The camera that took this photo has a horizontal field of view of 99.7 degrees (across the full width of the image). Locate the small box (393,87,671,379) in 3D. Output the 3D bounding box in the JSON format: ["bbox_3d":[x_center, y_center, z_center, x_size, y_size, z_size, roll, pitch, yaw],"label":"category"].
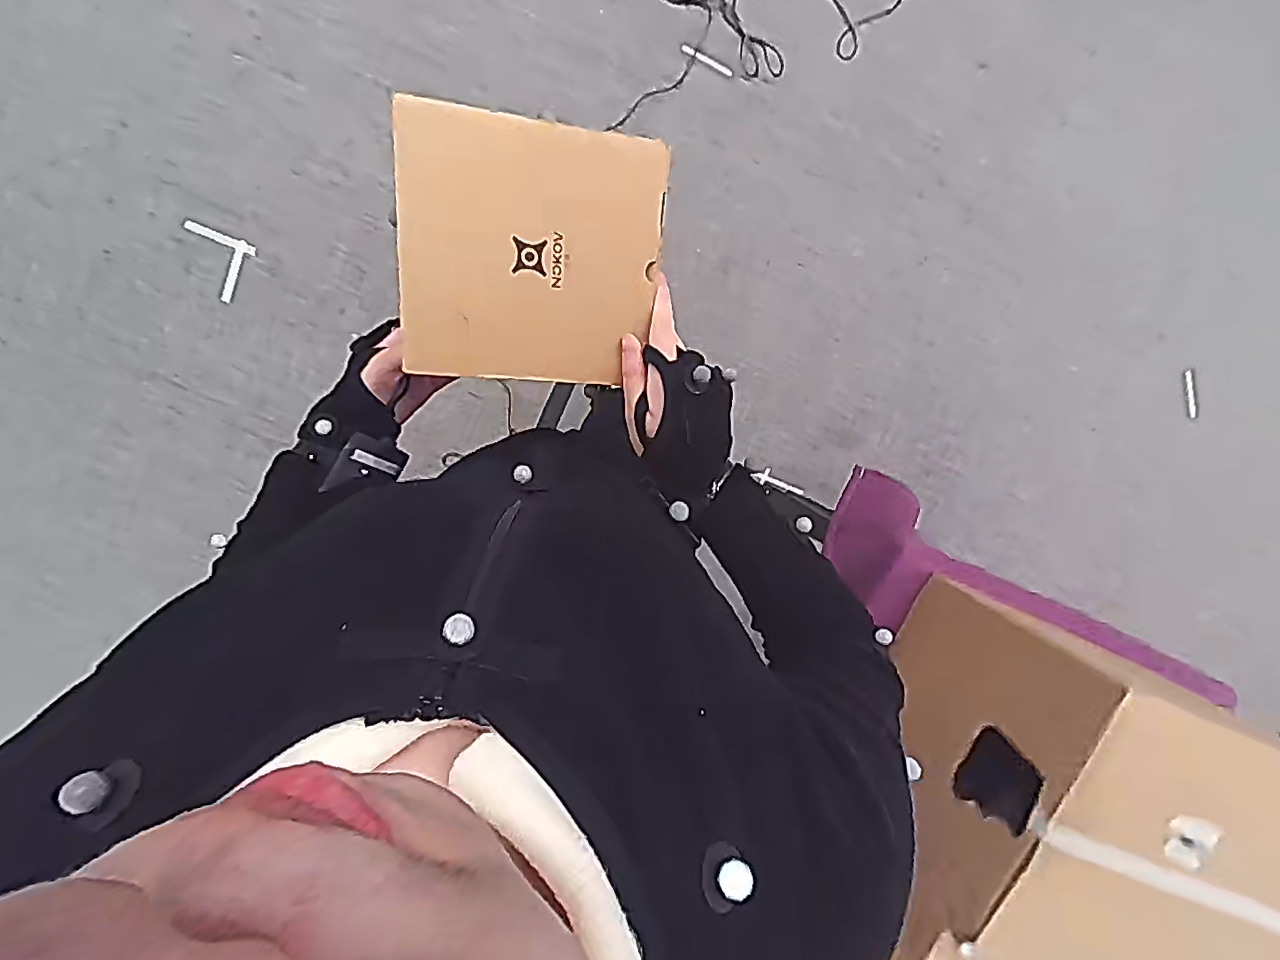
[{"bbox_3d":[-0.089,-0.177,0.436,0.179,0.176,0.168,0,107,-16],"label":"small box"}]
